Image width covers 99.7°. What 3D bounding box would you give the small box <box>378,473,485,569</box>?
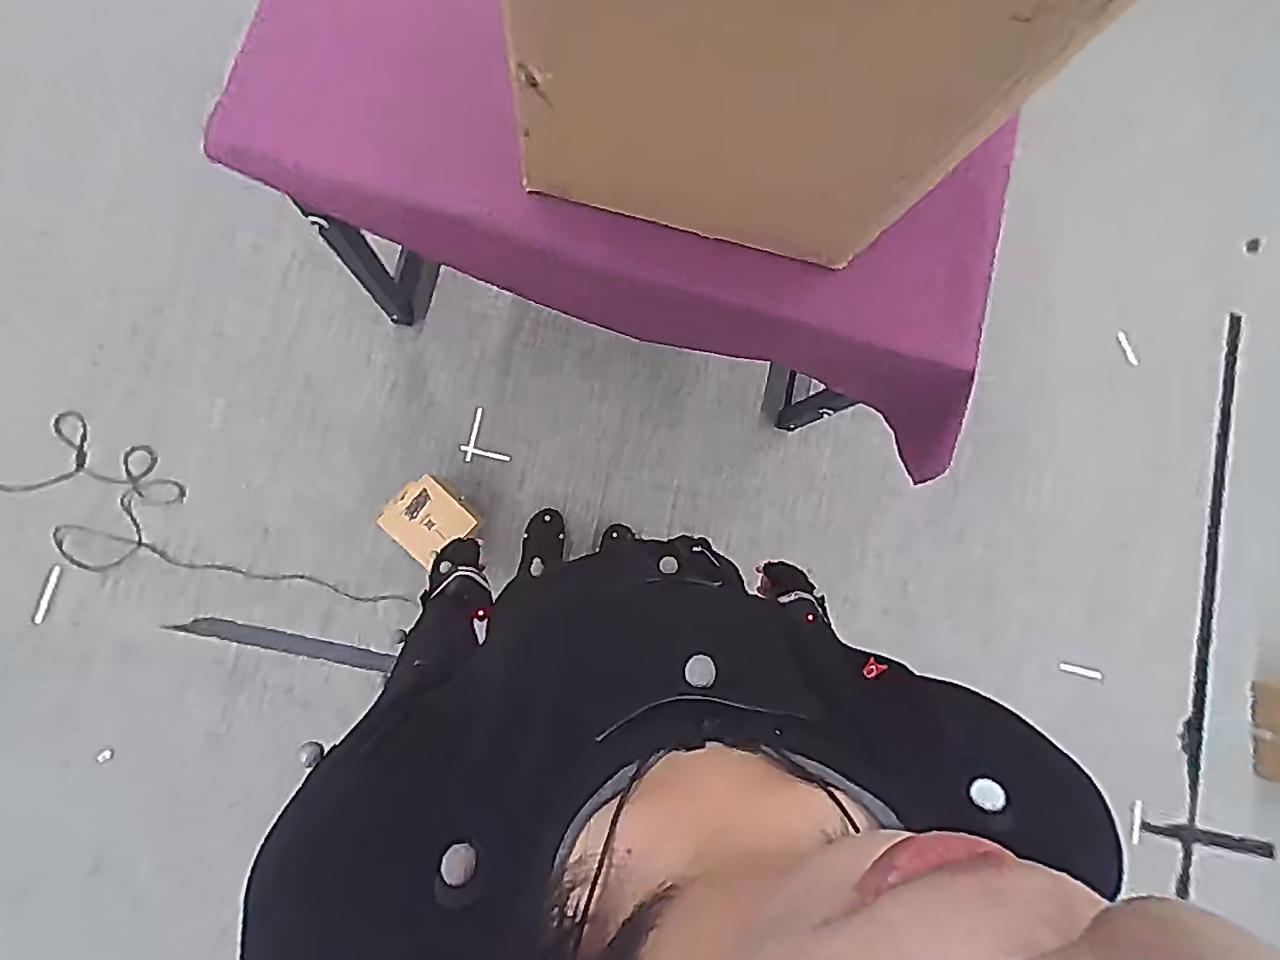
[{"bbox_3d":[-0.519,0.107,1.374,0.179,0.176,0.168,45,81,-3],"label":"small box"}]
